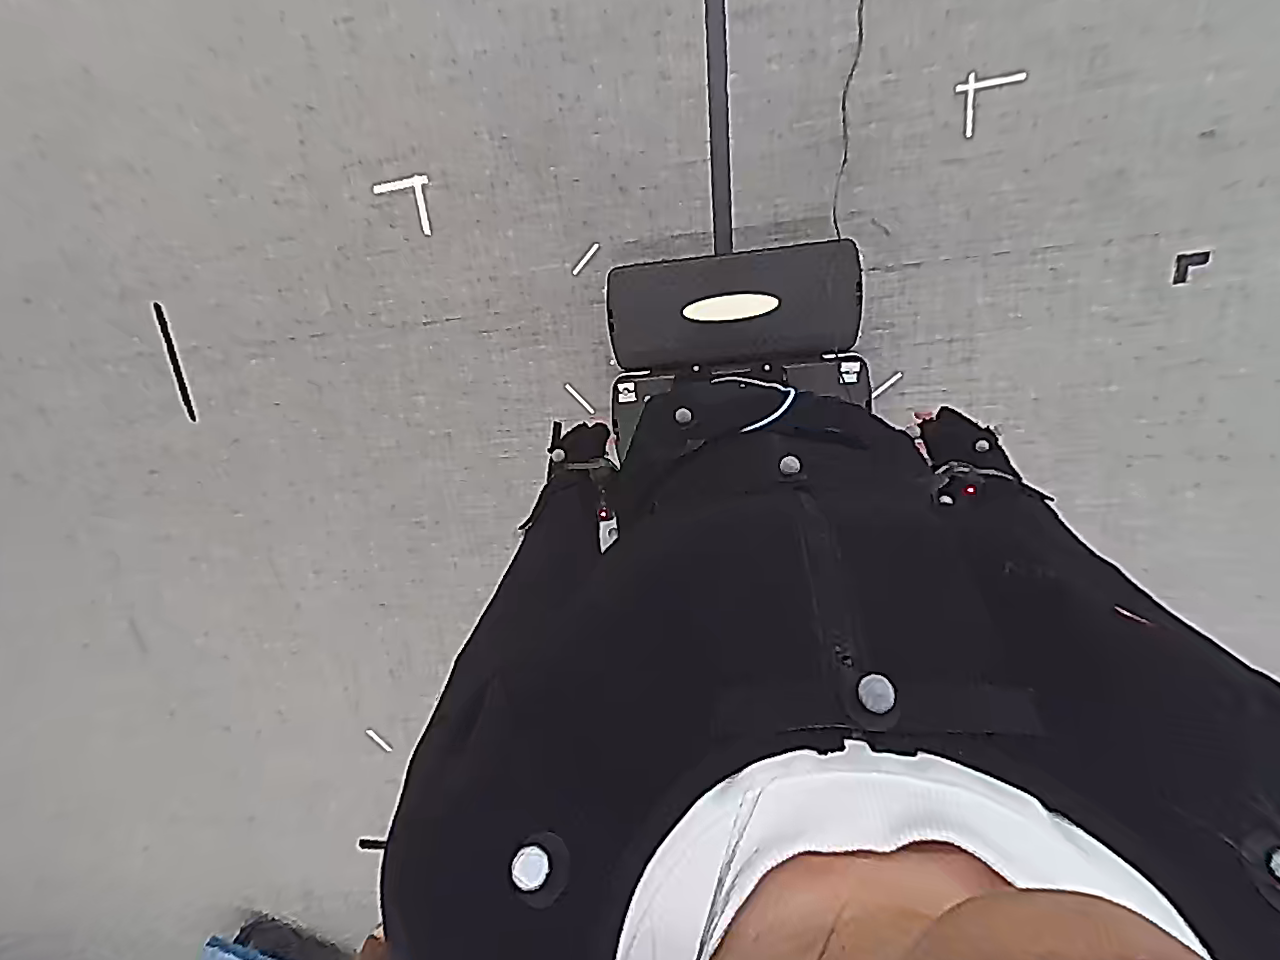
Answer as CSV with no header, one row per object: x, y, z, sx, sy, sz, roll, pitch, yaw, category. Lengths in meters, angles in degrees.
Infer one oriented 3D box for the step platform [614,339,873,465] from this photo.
0.271,-0.209,1.487,0.684,0.204,0.286,-4,104,11,step platform
